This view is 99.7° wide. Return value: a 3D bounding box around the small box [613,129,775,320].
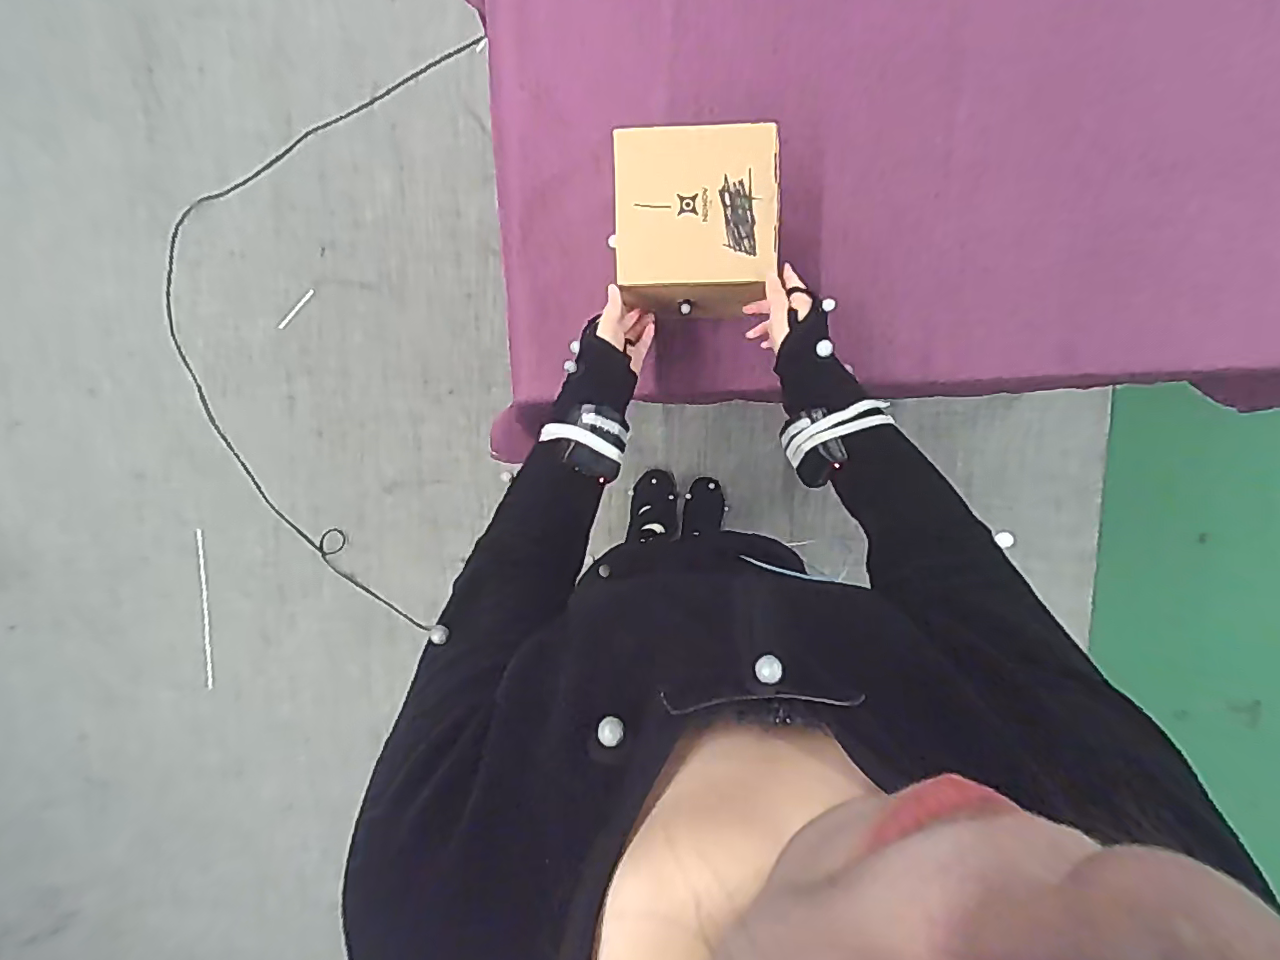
[{"bbox_3d":[0.060,-0.297,0.661,0.179,0.176,0.168,0,94,3],"label":"small box"}]
